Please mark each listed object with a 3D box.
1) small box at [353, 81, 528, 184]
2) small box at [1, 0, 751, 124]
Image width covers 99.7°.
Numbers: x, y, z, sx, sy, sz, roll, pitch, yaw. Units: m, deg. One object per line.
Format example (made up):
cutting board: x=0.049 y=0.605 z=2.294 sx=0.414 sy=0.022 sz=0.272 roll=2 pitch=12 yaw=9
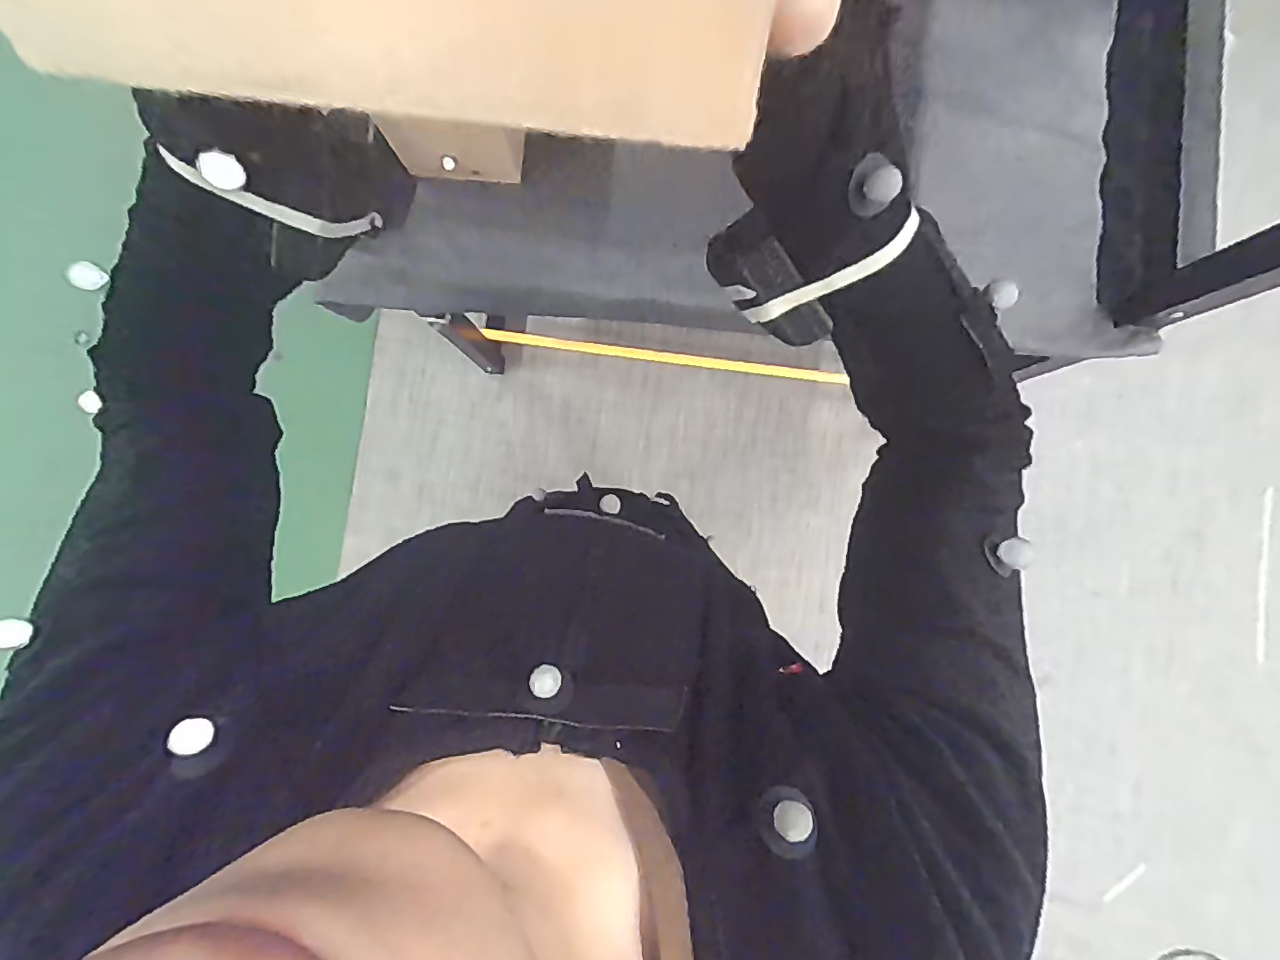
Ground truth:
small box: x=-0.249 y=-0.531 z=0.715 sx=0.168 sy=0.176 sz=0.179 roll=5 pitch=87 yaw=0
small box: x=-0.044 y=-0.203 z=0.098 sx=0.168 sy=0.179 sz=0.176 roll=7 pitch=54 yaw=2
